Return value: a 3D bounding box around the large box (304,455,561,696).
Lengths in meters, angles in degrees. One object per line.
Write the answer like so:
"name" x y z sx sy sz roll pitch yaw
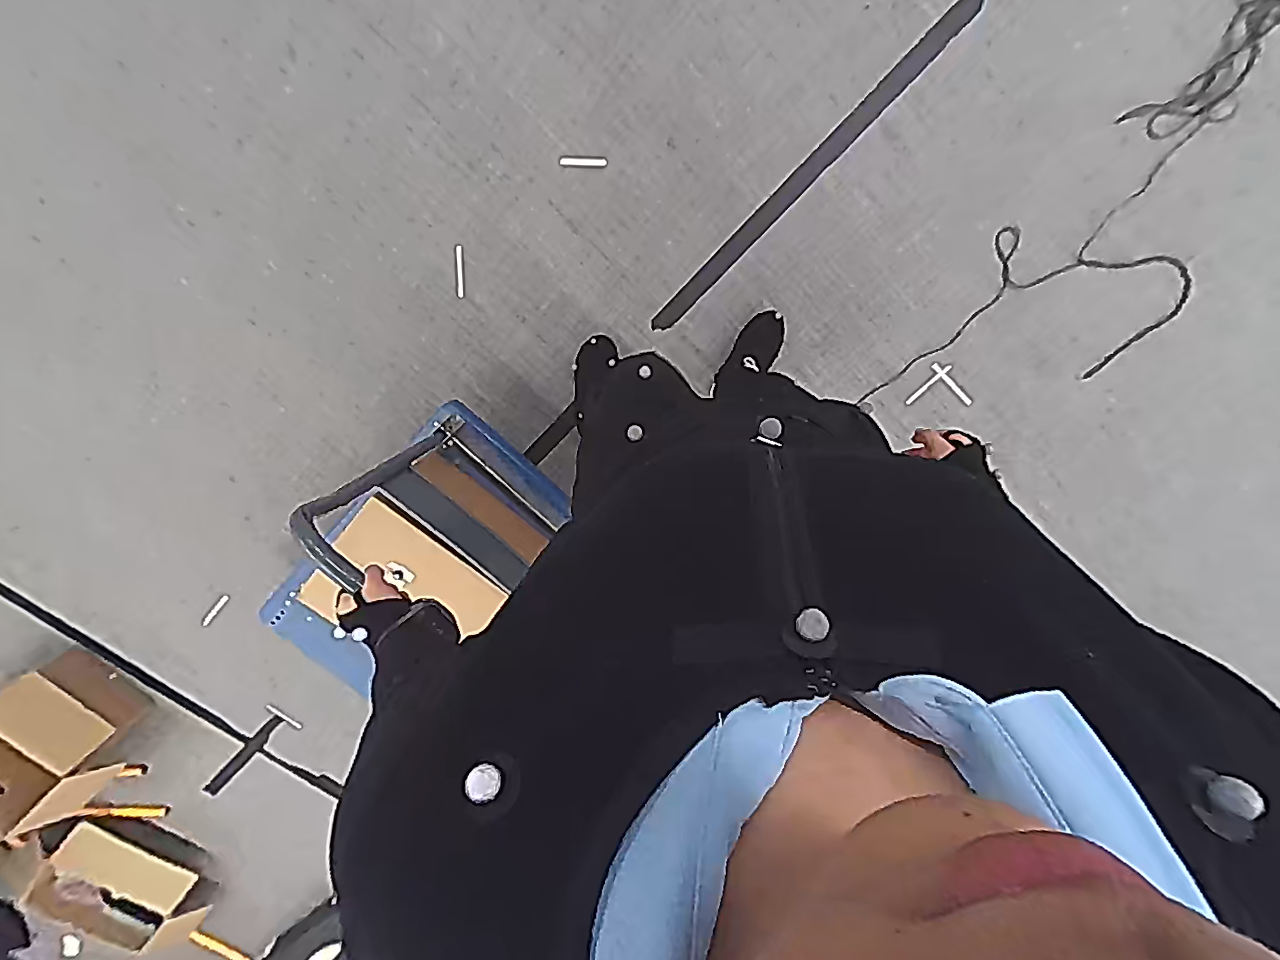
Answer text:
"large box" -0.453 0.209 1.270 0.408 0.320 0.320 40 105 -11
